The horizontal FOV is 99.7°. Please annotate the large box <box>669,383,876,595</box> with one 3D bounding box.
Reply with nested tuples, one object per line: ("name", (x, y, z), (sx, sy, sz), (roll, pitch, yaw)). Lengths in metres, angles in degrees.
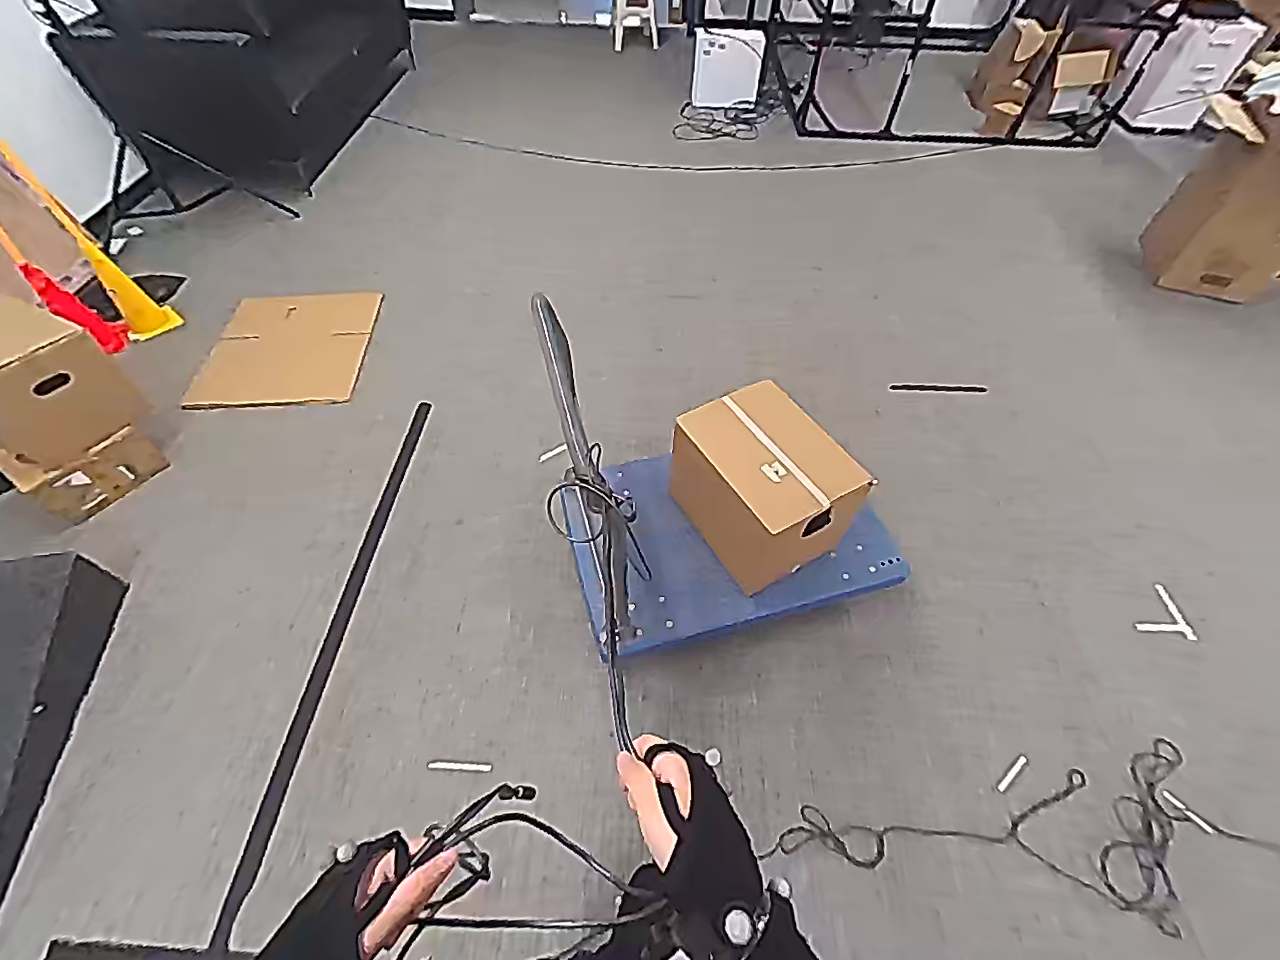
("large box", (0.319, 0.020, 1.434), (0.320, 0.320, 0.408), (-24, 58, -18))
